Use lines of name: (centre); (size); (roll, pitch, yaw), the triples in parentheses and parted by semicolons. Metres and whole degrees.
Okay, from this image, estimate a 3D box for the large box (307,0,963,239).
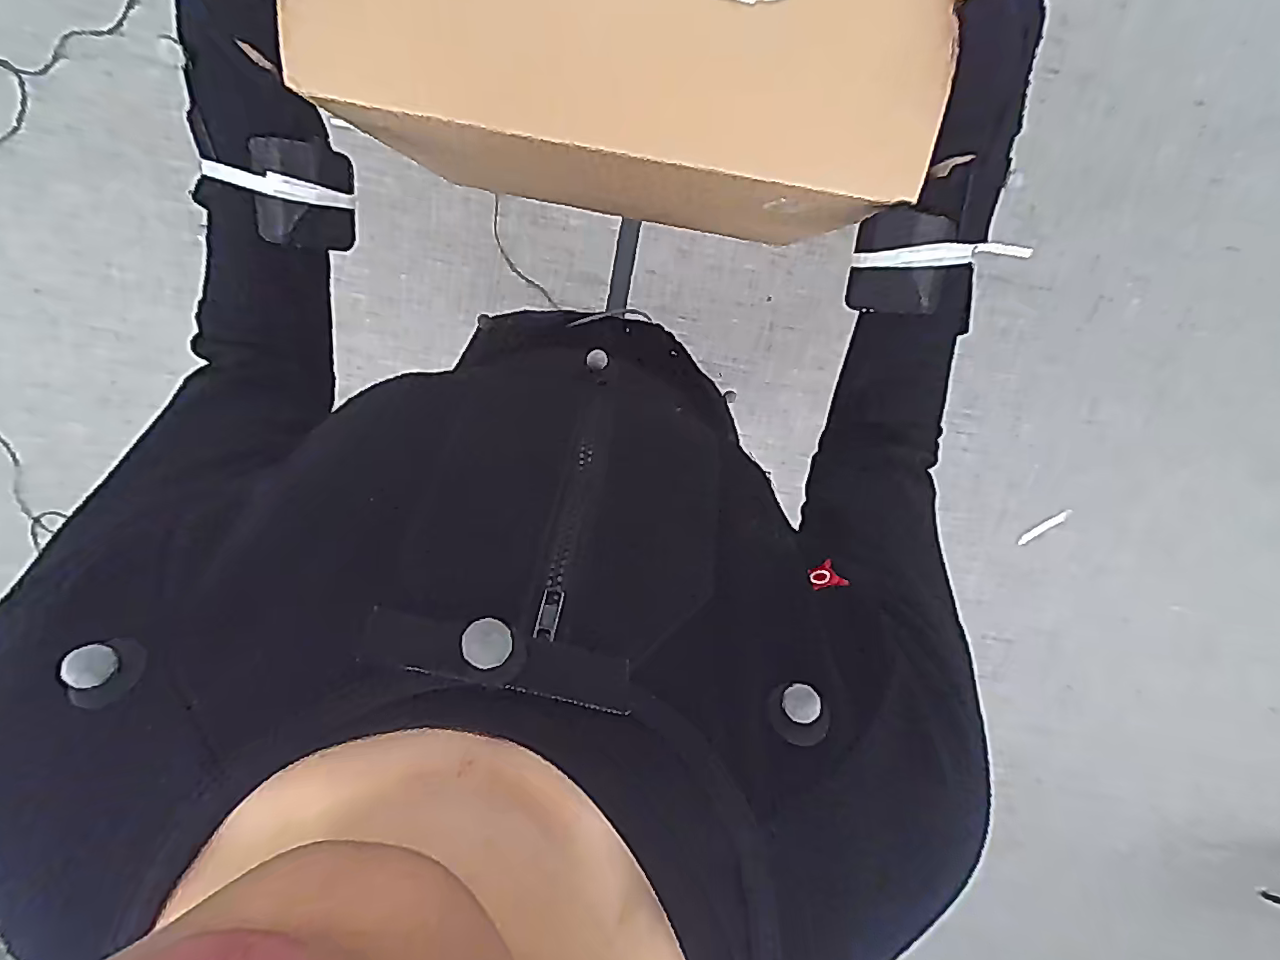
large box: (0.006, -0.408, 0.447); (0.408, 0.320, 0.320); (8, 110, -4)
